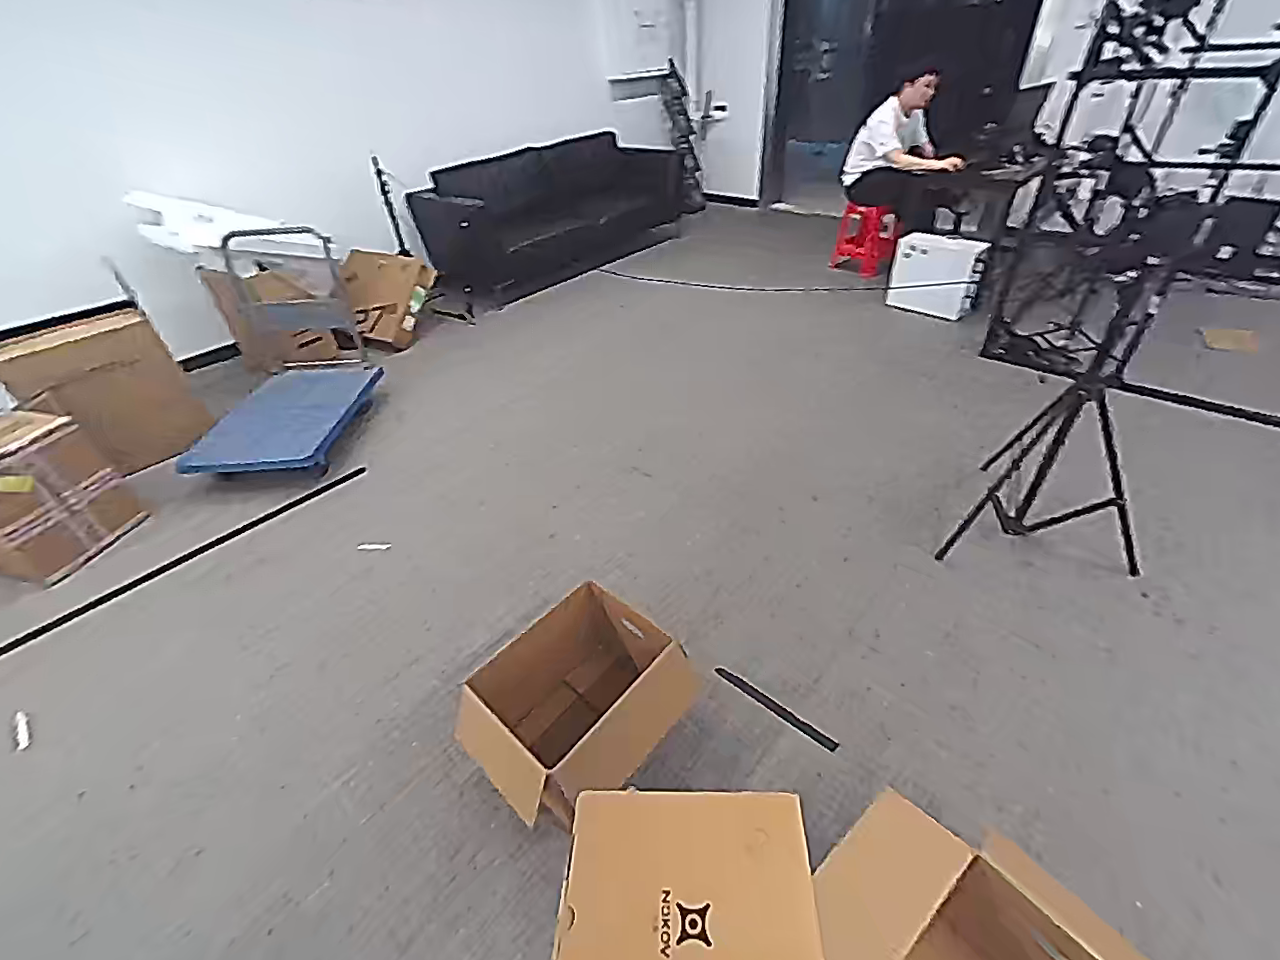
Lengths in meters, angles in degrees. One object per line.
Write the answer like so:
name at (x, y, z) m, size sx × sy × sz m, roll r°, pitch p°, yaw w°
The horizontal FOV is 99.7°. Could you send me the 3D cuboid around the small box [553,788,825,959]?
small box at (0.040, 0.355, 0.406) m, size 0.179 × 0.176 × 0.168 m, roll -4°, pitch 37°, yaw 7°
